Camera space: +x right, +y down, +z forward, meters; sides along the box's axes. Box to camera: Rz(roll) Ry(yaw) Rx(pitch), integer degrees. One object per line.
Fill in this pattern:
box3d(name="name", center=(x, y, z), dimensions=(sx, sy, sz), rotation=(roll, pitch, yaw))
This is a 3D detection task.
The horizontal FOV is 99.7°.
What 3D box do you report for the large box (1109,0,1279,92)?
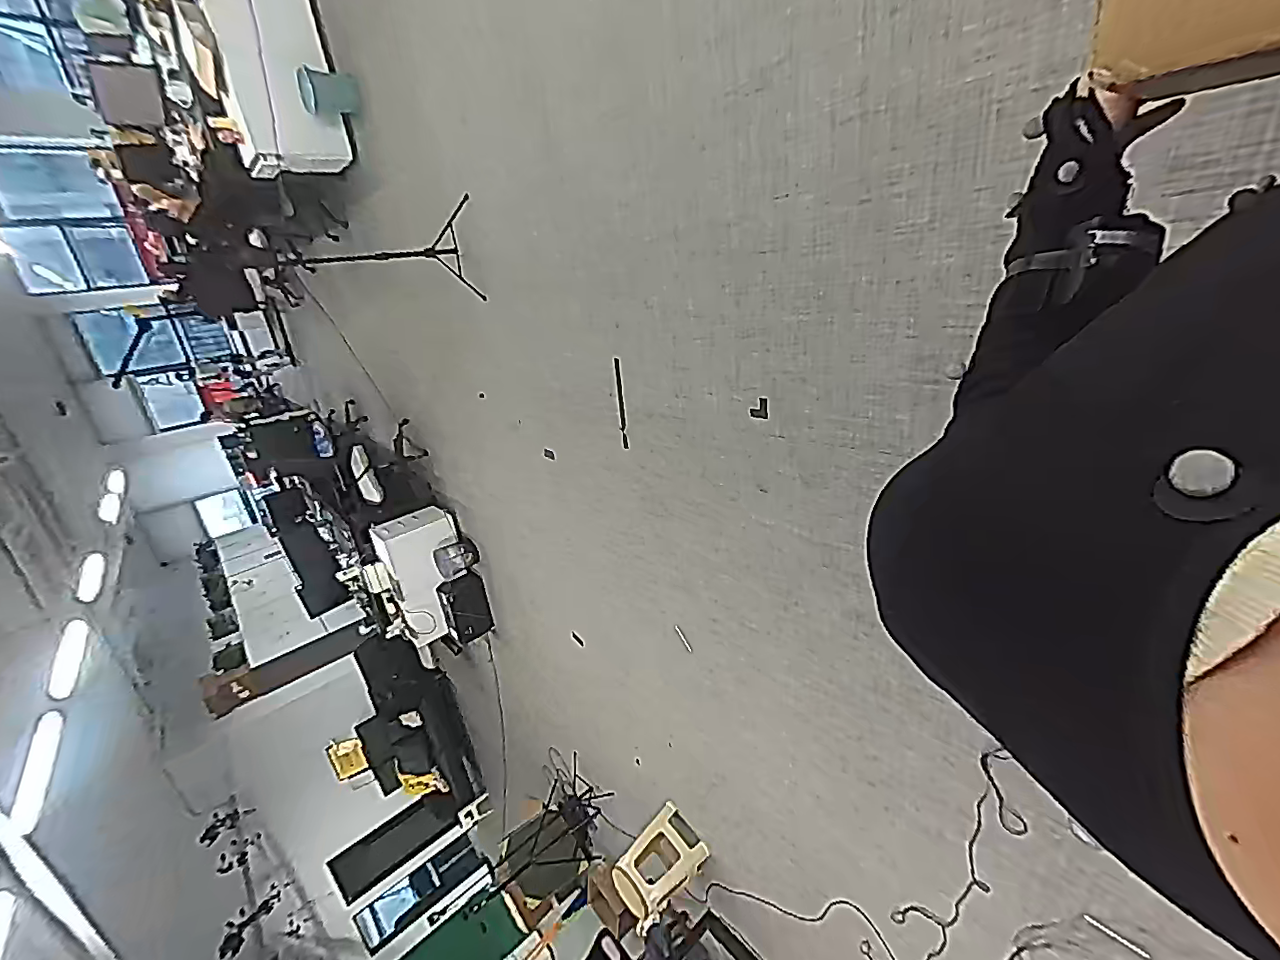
box3d(name="large box", center=(0.409, -0.343, 0.133), dimensions=(0.408, 0.320, 0.320), rotation=(12, 124, 41))
